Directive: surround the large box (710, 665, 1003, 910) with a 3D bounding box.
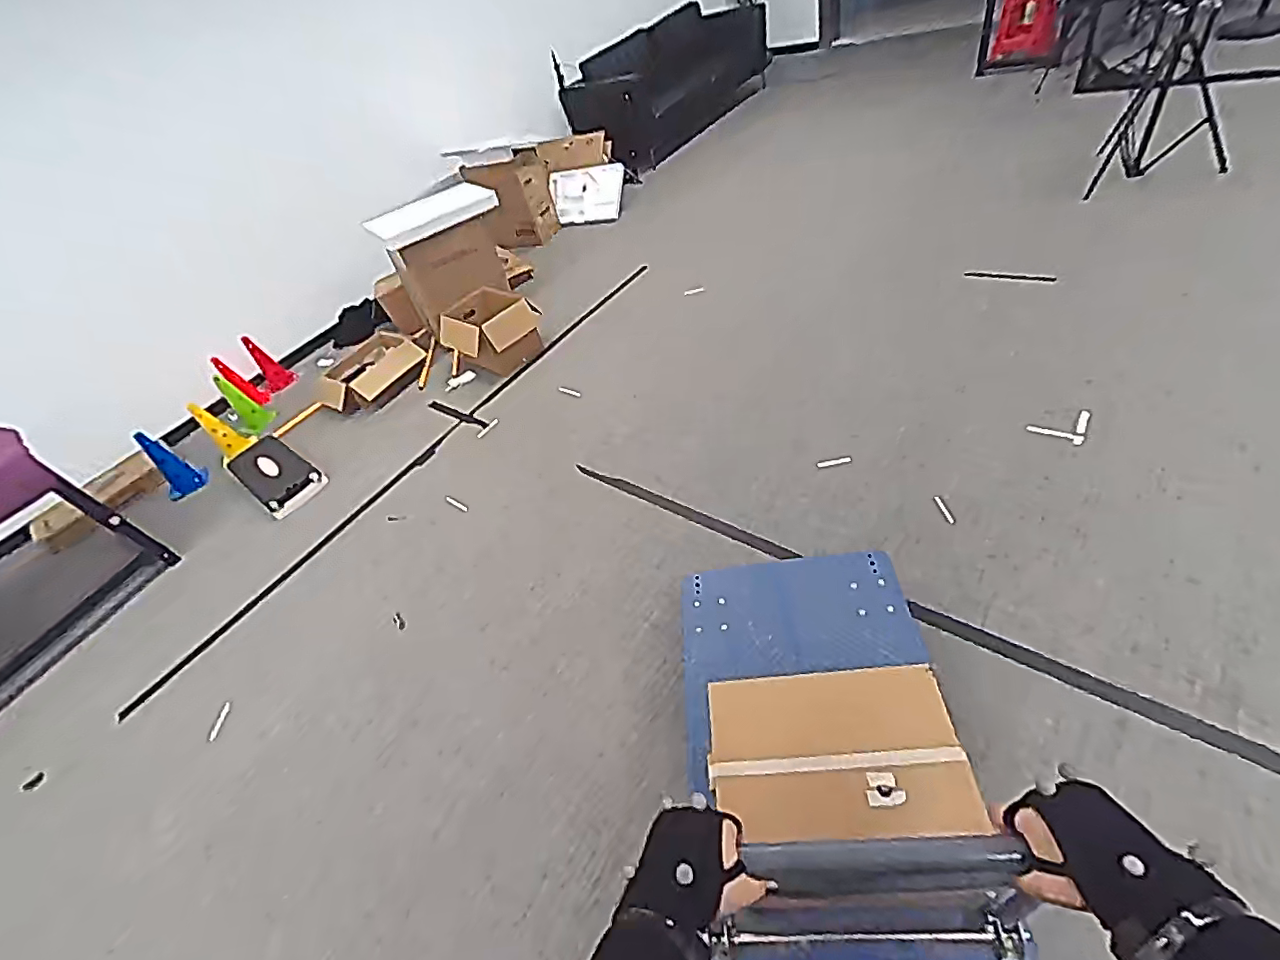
[{"bbox_3d":[0.360,0.579,1.008,0.408,0.320,0.320,-9,45,9],"label":"large box"}]
